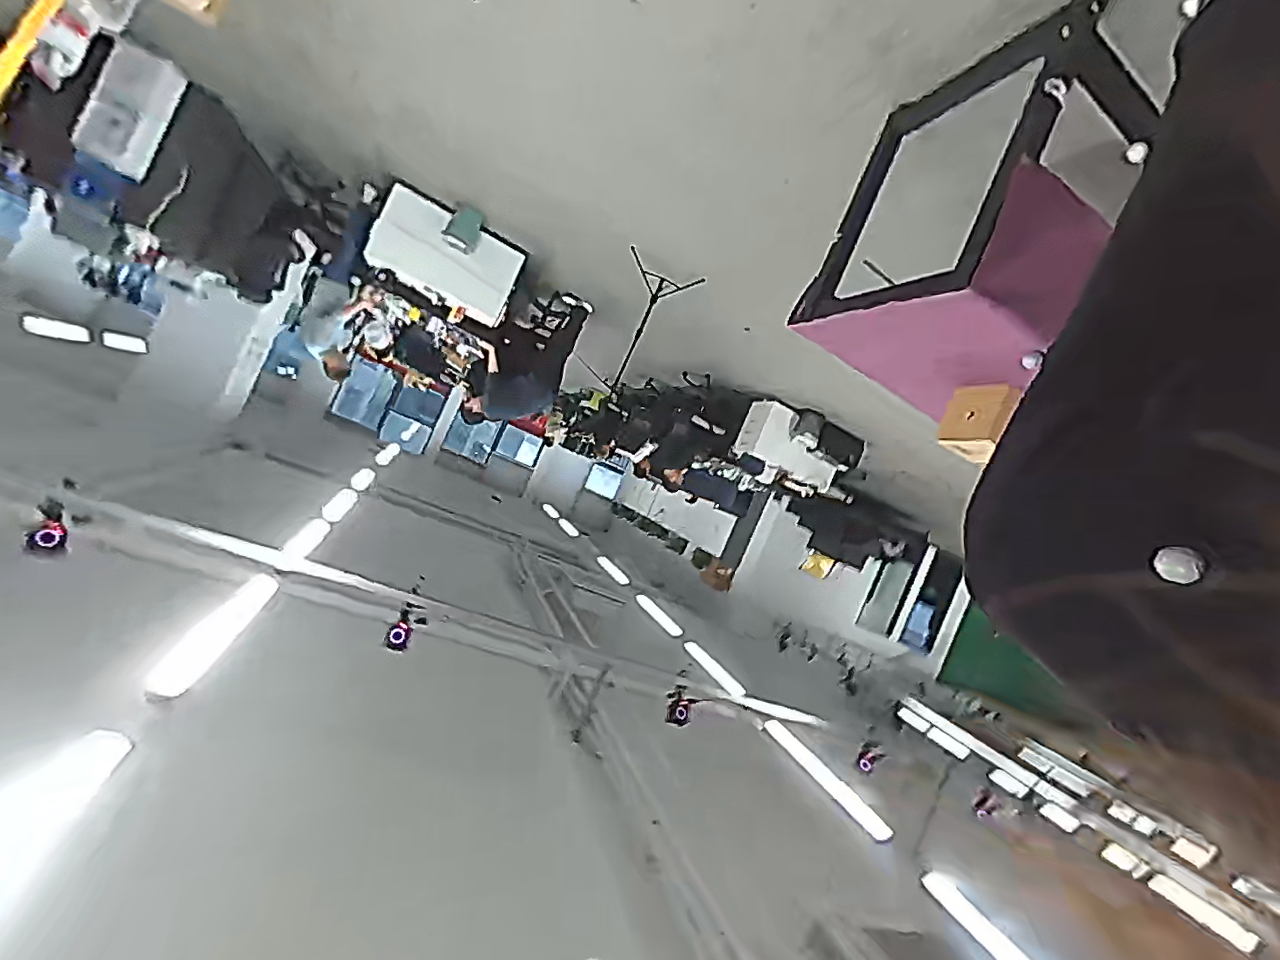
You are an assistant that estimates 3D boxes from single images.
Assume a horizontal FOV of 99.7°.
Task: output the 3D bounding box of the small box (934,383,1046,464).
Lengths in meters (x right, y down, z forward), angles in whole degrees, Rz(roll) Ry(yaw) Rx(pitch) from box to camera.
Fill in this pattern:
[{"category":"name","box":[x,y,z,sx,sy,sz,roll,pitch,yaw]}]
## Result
[{"category":"small box","box":[0.976,-0.157,1.510,0.168,0.176,0.179,24,178,-17]}]
